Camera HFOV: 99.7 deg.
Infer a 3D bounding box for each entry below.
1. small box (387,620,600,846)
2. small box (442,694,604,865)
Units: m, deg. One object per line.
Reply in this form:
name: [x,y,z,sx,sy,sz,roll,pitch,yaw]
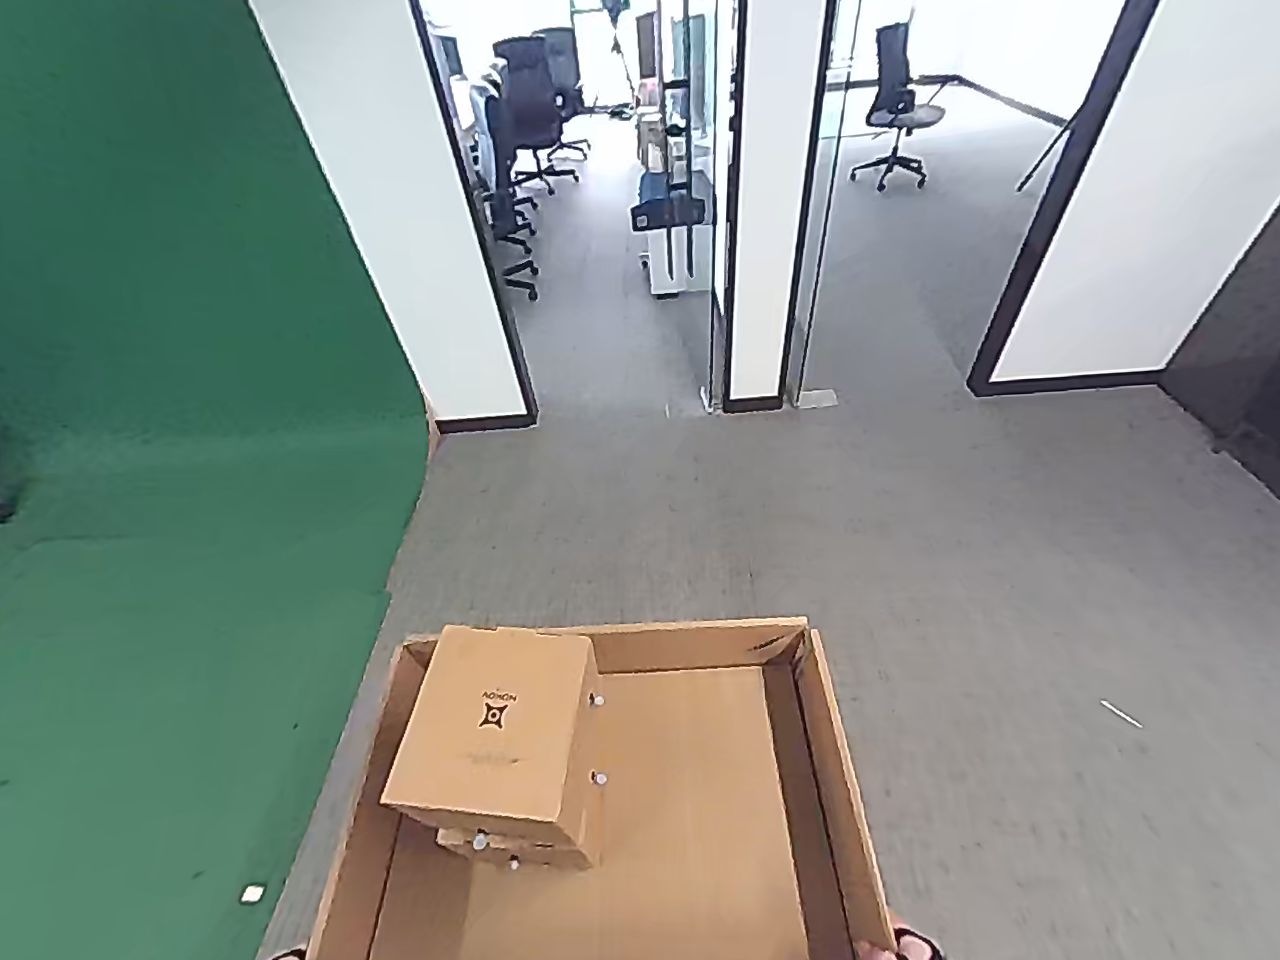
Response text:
small box: [-0.139,0.279,0.596,0.168,0.176,0.179,4,49,5]
small box: [-0.138,0.391,0.715,0.168,0.176,0.179,2,50,2]
